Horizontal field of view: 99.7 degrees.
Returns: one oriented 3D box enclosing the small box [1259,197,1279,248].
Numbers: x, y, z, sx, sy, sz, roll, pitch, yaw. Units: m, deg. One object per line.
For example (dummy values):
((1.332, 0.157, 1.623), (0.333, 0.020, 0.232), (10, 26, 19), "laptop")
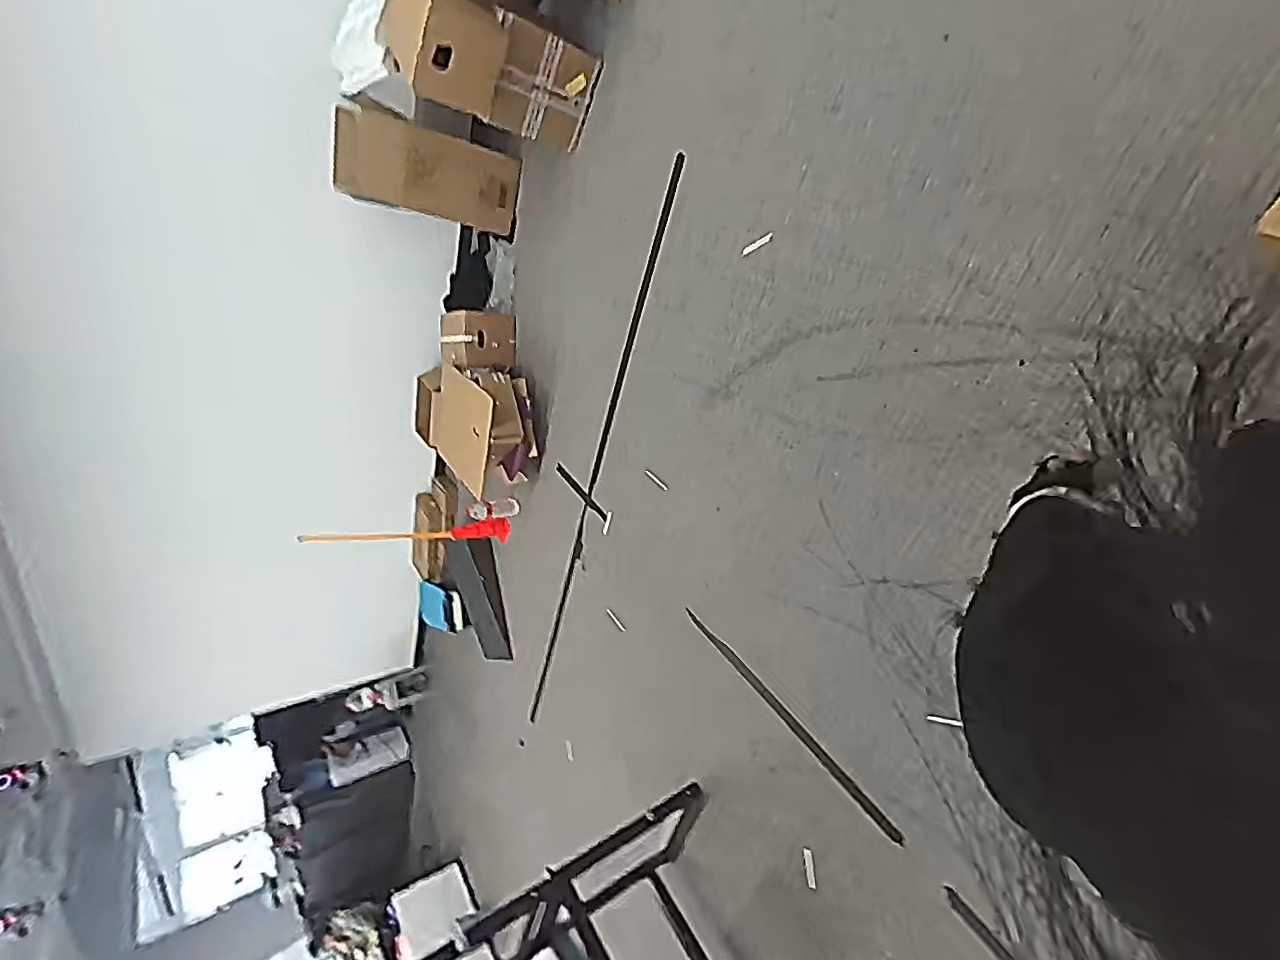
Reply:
((1.023, -0.397, 0.736), (0.179, 0.176, 0.168), (44, 127, 39), "small box")
